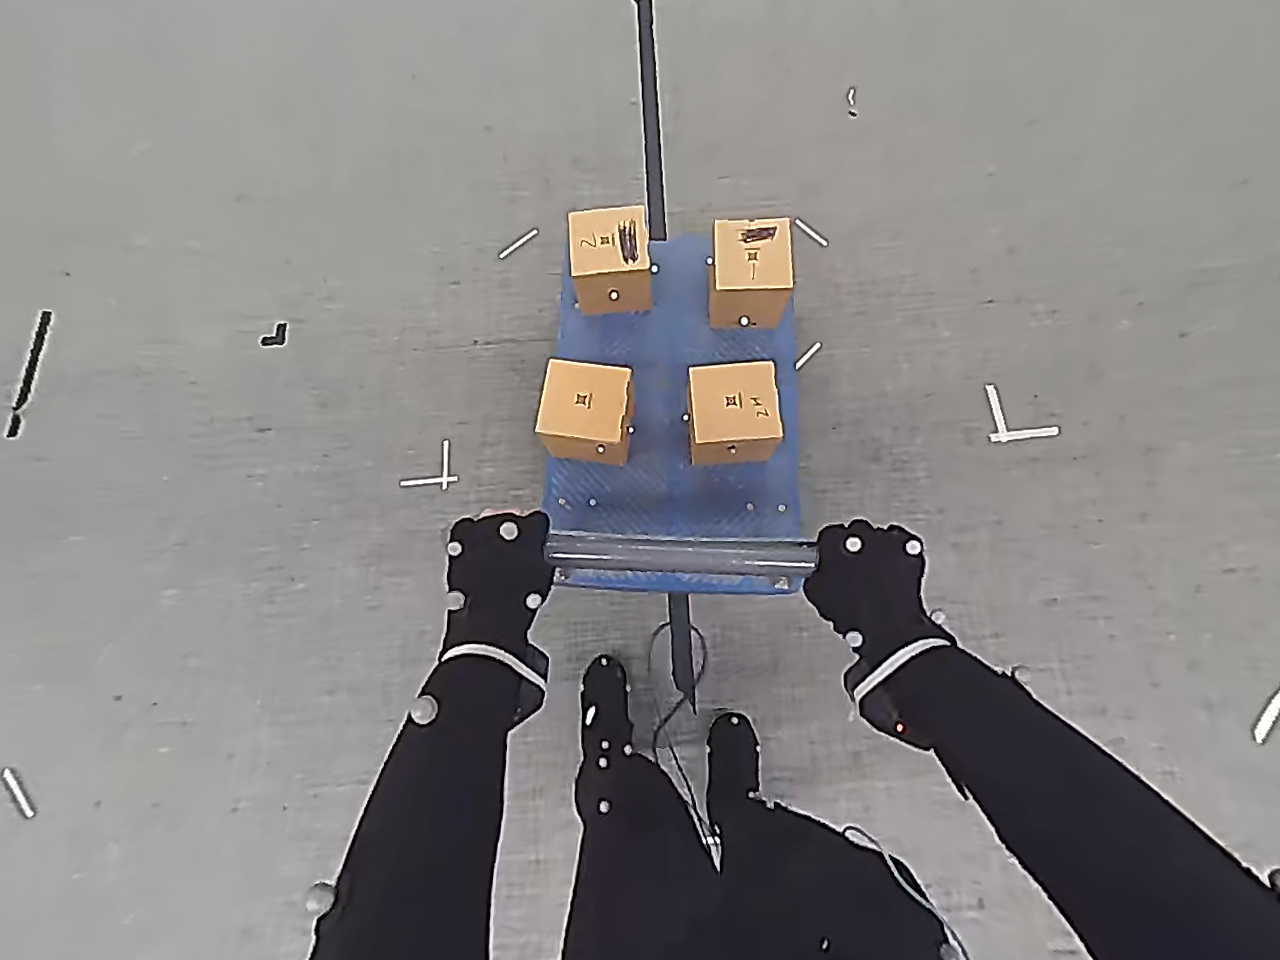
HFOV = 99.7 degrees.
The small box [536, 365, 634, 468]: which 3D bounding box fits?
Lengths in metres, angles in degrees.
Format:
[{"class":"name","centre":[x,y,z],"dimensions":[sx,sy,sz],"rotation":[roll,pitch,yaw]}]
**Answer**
[{"class":"small box","centre":[-0.113,-0.133,1.186],"dimensions":[0.179,0.176,0.168],"rotation":[7,76,3]}]

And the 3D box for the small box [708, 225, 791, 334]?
[{"class":"small box","centre":[0.246,-0.459,1.251],"dimensions":[0.168,0.176,0.179],"rotation":[0,76,3]}]

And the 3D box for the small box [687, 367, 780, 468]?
[{"class":"small box","centre":[0.193,-0.128,1.169],"dimensions":[0.179,0.176,0.168],"rotation":[-4,76,2]}]
